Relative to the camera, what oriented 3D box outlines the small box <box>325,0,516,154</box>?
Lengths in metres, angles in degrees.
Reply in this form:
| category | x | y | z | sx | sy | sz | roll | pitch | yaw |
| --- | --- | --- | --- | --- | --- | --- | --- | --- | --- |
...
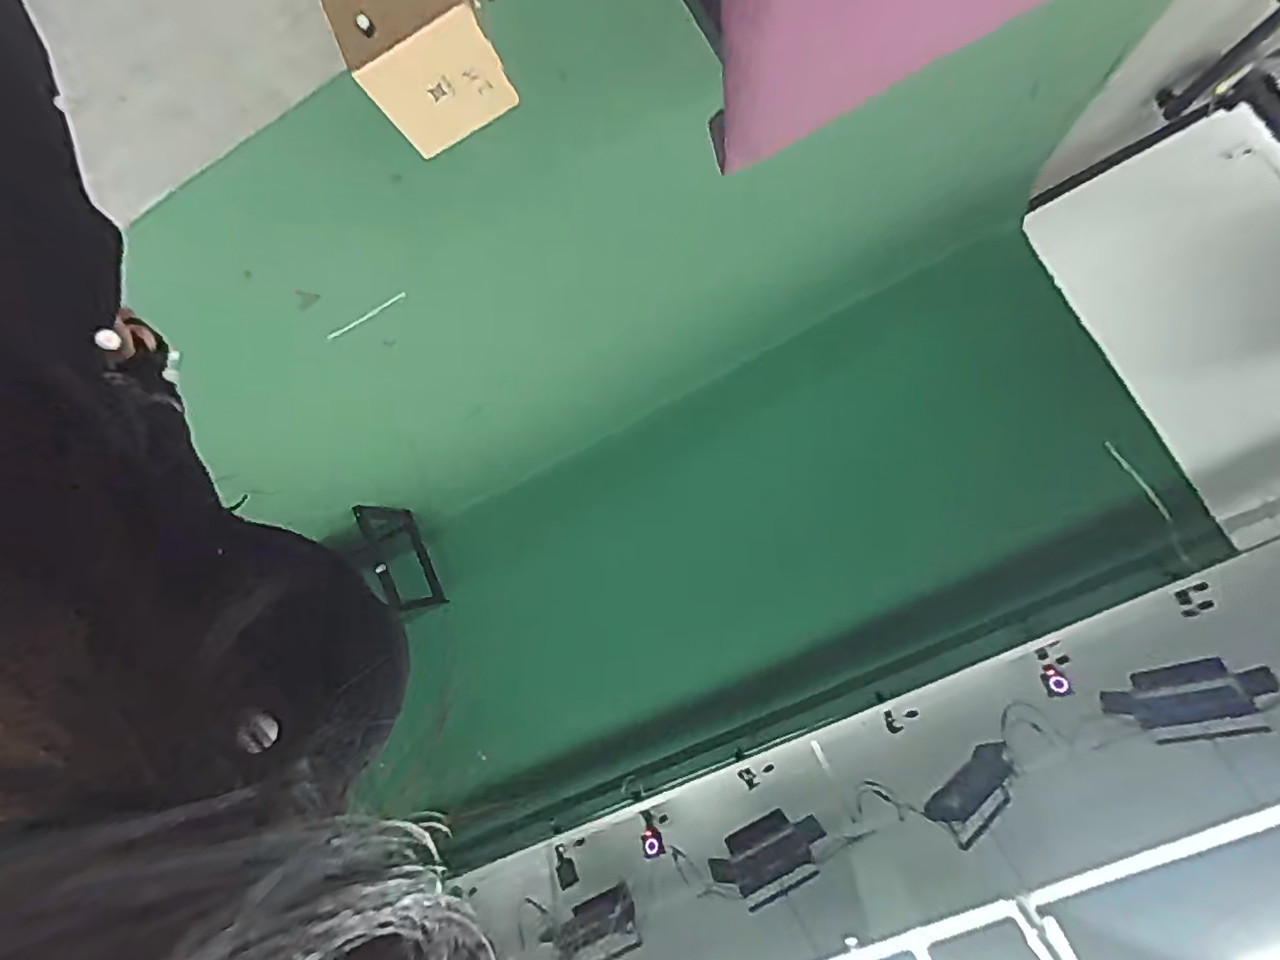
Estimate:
| category | x | y | z | sx | sy | sz | roll | pitch | yaw |
| --- | --- | --- | --- | --- | --- | --- | --- | --- | --- |
| small box | -0.308 | -0.619 | 0.757 | 0.179 | 0.176 | 0.168 | -26 | 171 | 8 |
